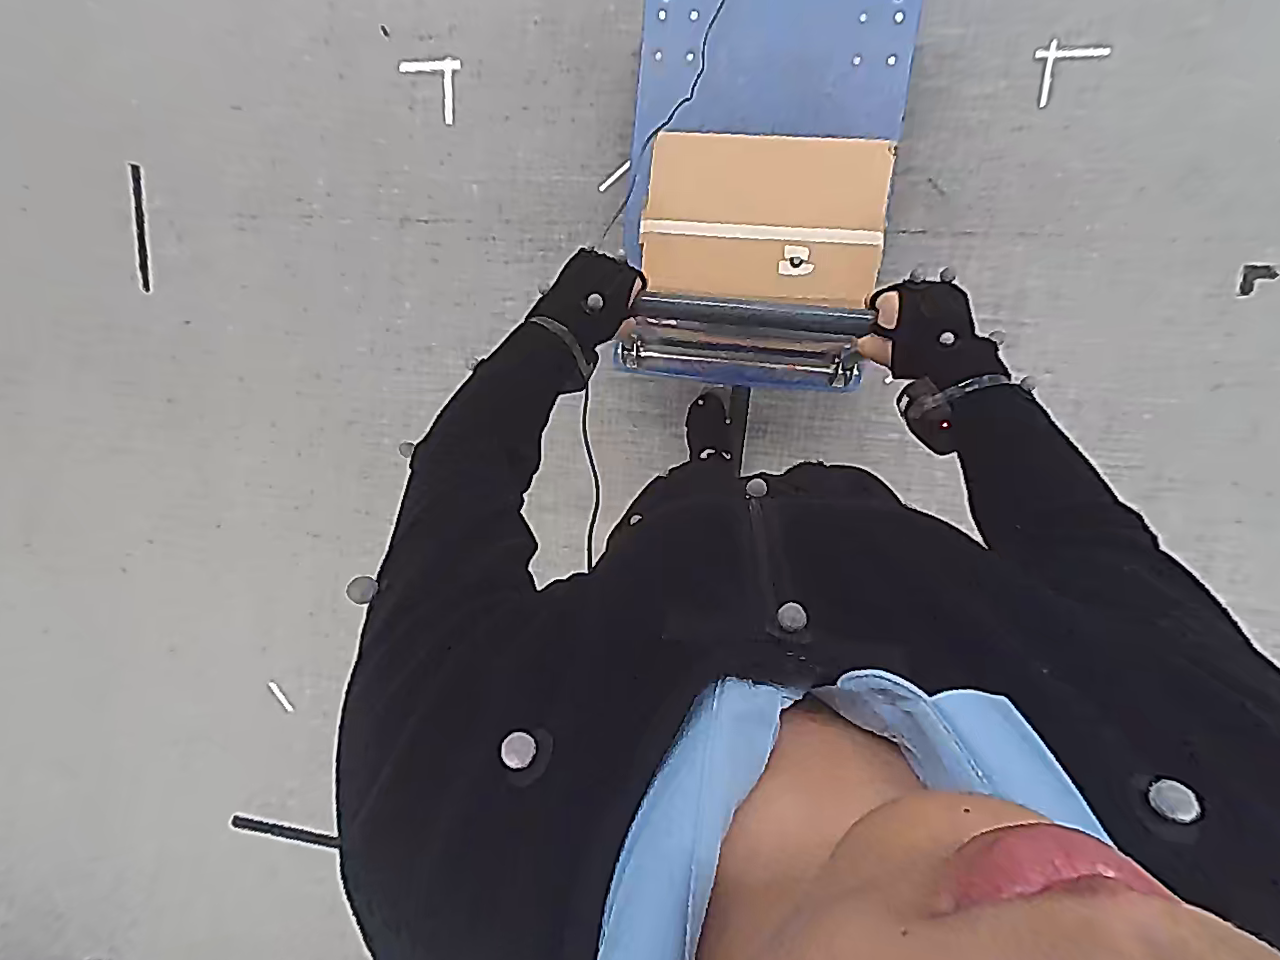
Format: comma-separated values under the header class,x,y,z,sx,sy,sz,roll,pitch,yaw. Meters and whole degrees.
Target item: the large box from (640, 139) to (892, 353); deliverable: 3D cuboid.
class,x,y,z,sx,sy,sz,roll,pitch,yaw
large box,0.224,-0.437,1.077,0.408,0.320,0.320,7,99,7
